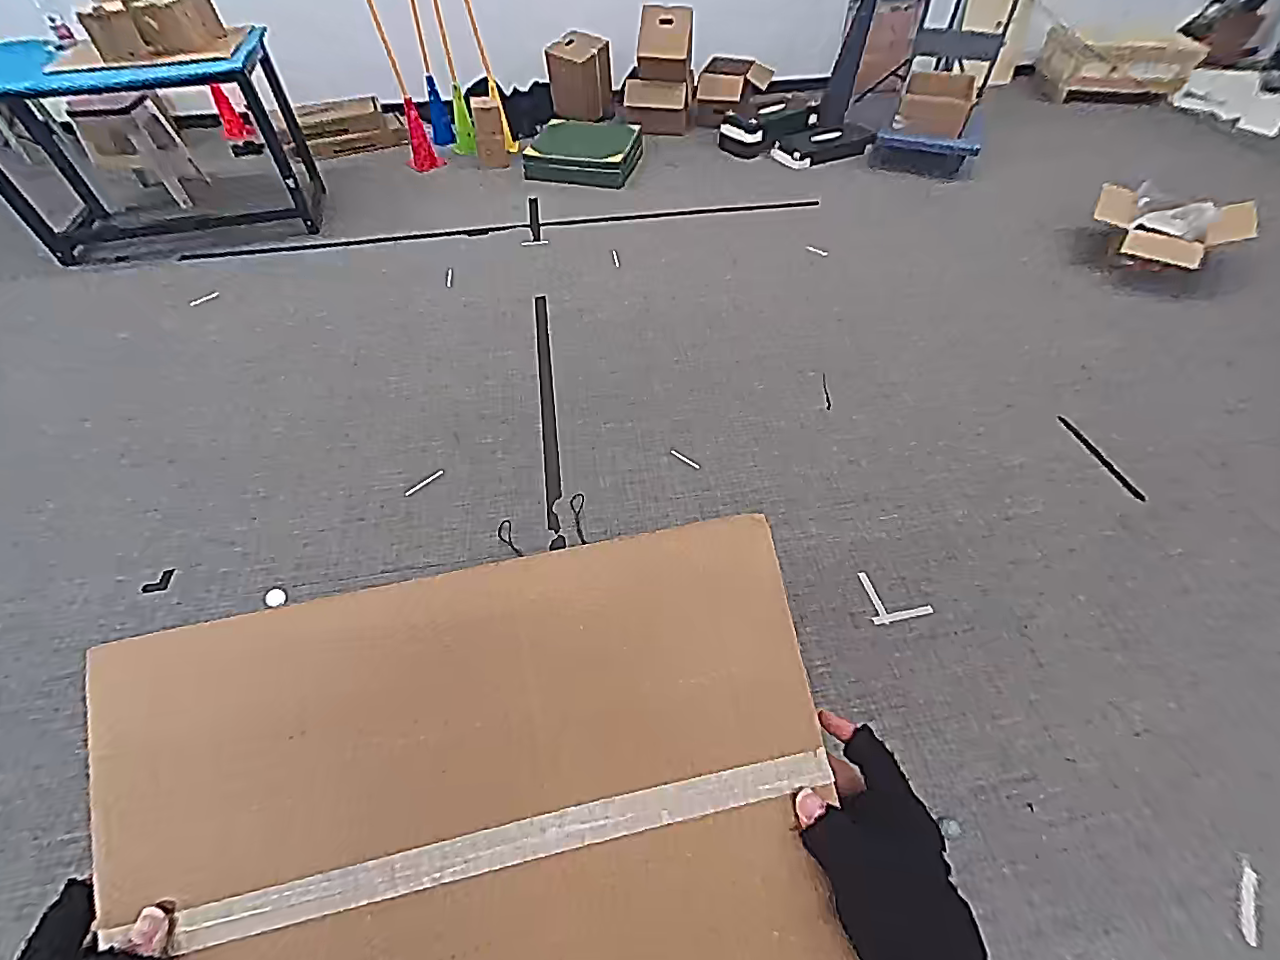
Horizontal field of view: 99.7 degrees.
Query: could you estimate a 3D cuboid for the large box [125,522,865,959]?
[{"bbox_3d":[-0.094,0.240,0.462,0.408,0.320,0.320,-11,82,-5],"label":"large box"}]
